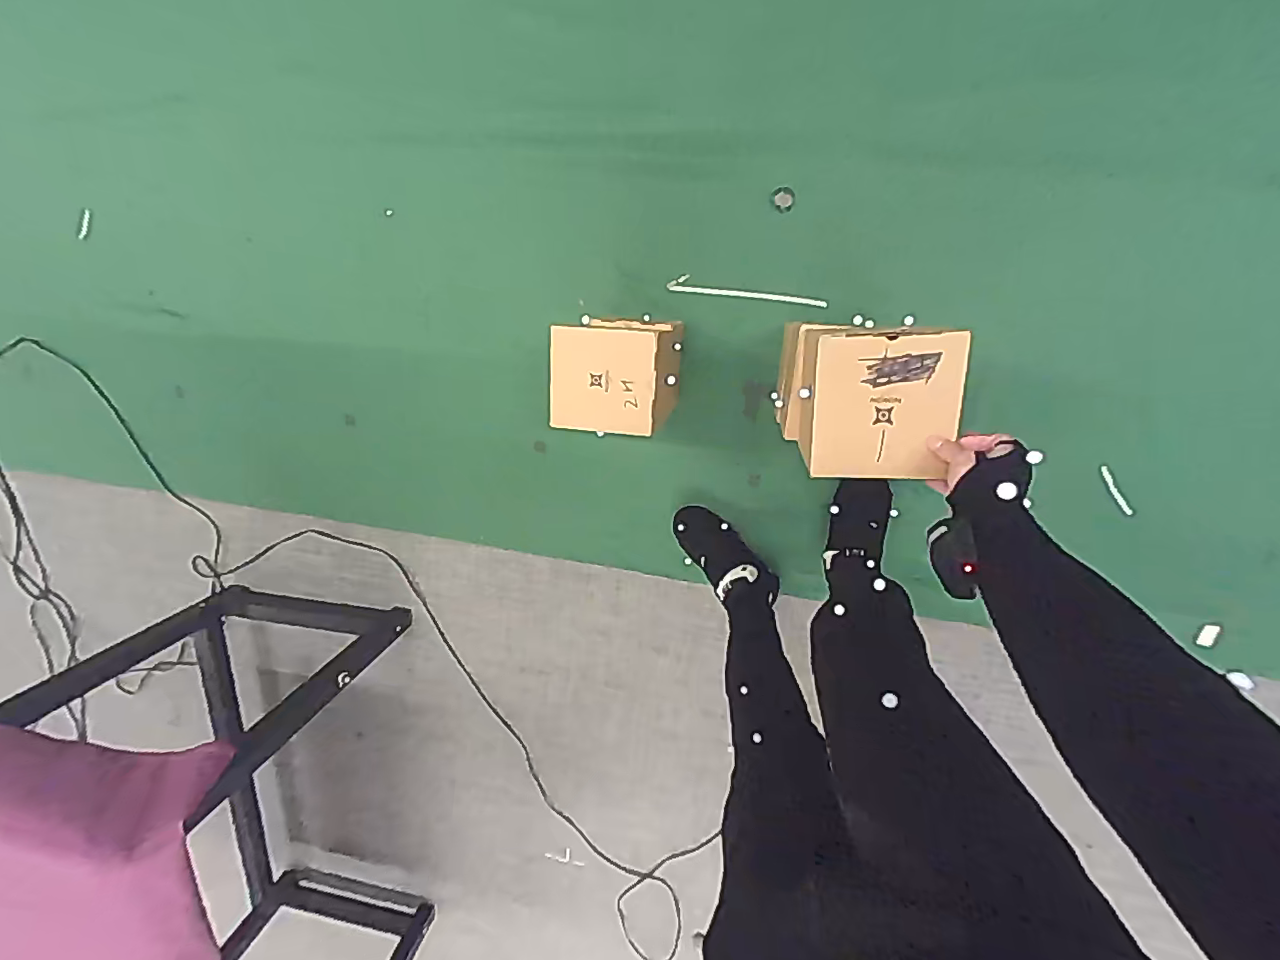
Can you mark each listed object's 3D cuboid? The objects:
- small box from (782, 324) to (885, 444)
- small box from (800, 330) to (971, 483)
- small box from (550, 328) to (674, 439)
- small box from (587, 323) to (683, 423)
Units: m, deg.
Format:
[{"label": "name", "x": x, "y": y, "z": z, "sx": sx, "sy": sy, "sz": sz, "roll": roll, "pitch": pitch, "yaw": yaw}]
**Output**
[{"label": "small box", "x": 0.323, "y": -0.153, "z": 0.867, "sx": 0.168, "sy": 0.176, "sz": 0.179, "roll": 7, "pitch": 107, "yaw": 10}, {"label": "small box", "x": 0.305, "y": -0.105, "z": 0.712, "sx": 0.168, "sy": 0.176, "sz": 0.179, "roll": 1, "pitch": 108, "yaw": 11}, {"label": "small box", "x": -0.044, "y": -0.174, "z": 0.938, "sx": 0.179, "sy": 0.176, "sz": 0.168, "roll": 6, "pitch": 107, "yaw": 10}, {"label": "small box", "x": -0.008, "y": -0.221, "z": 1.091, "sx": 0.168, "sy": 0.176, "sz": 0.179, "roll": 6, "pitch": 106, "yaw": 10}]
